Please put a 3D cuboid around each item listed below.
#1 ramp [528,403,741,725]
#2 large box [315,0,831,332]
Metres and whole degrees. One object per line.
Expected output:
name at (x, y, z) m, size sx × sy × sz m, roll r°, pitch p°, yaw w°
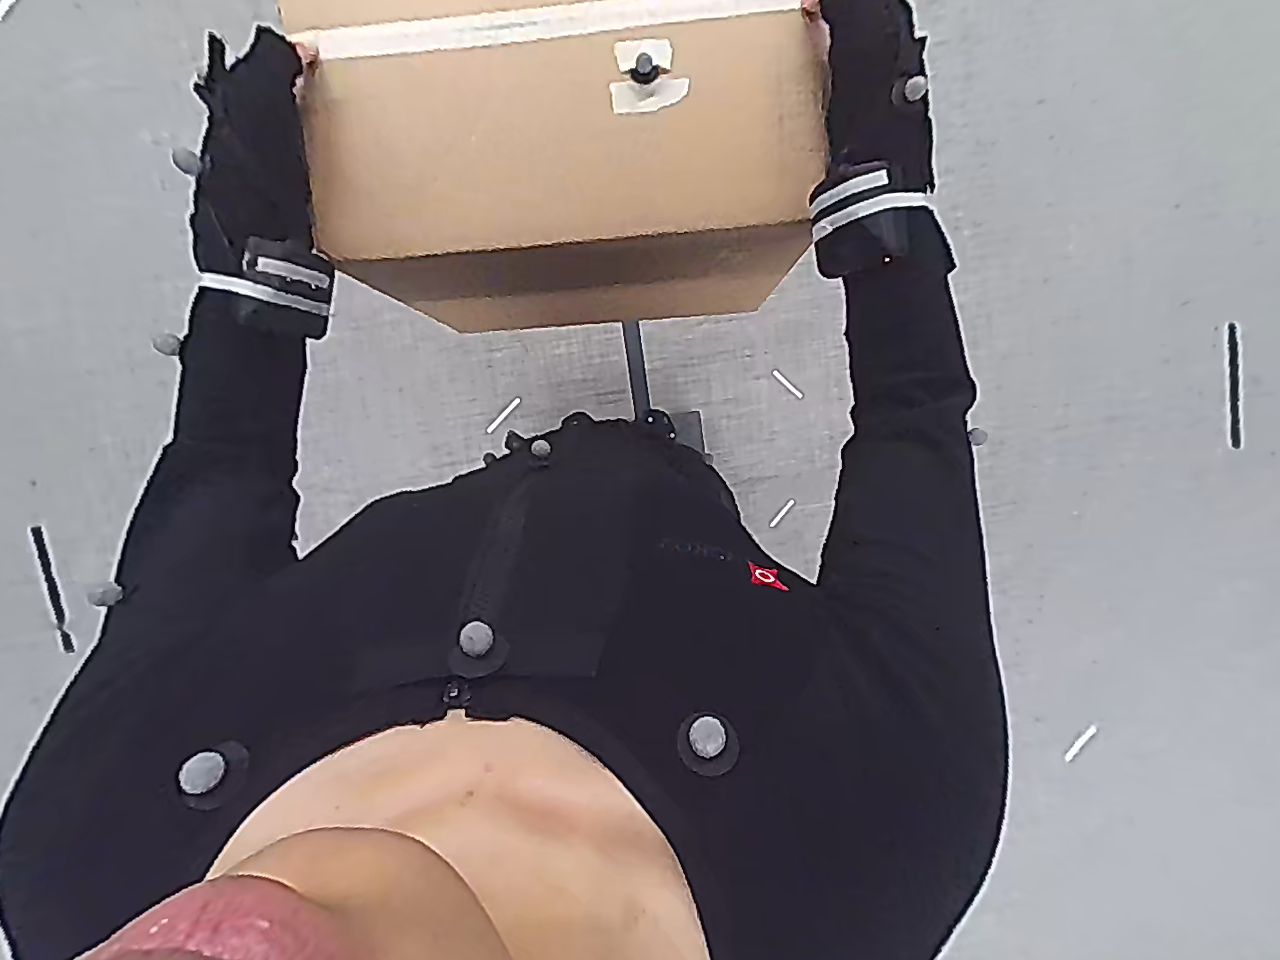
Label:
ramp at (0.017, 0.293, 1.616) m, size 0.509 × 0.206 × 0.991 m, roll -12°, pitch 98°, yaw -1°
large box at (-0.055, -0.357, 0.572) m, size 0.408 × 0.320 × 0.320 m, roll -4°, pitch 95°, yaw 2°
